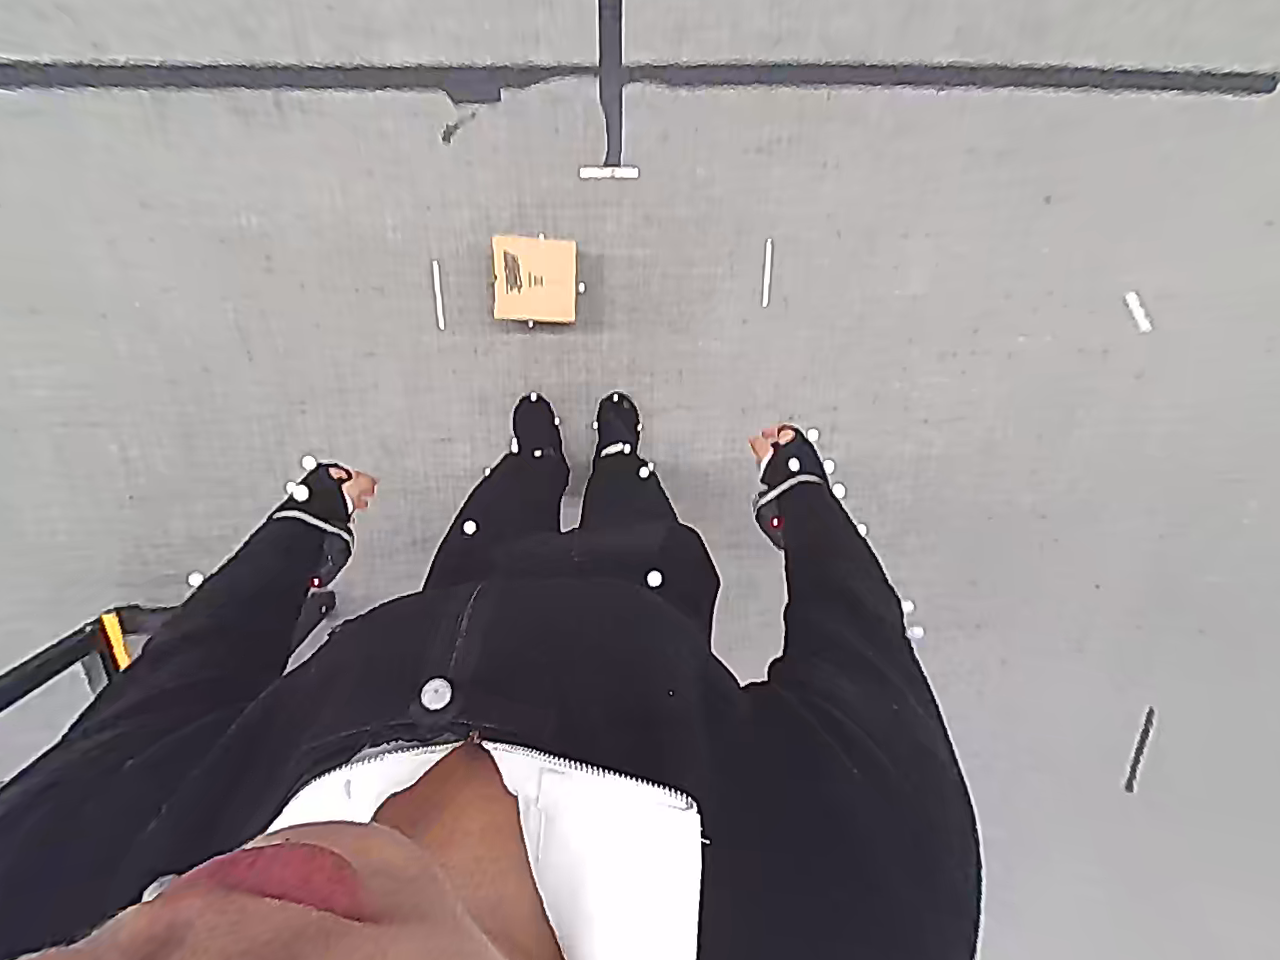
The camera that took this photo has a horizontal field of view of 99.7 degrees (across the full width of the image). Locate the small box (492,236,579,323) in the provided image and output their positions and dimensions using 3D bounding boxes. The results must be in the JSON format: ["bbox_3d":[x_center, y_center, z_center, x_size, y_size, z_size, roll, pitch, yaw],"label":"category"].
[{"bbox_3d":[-0.231,-0.449,1.230,0.179,0.176,0.168,2,107,-6],"label":"small box"}]
